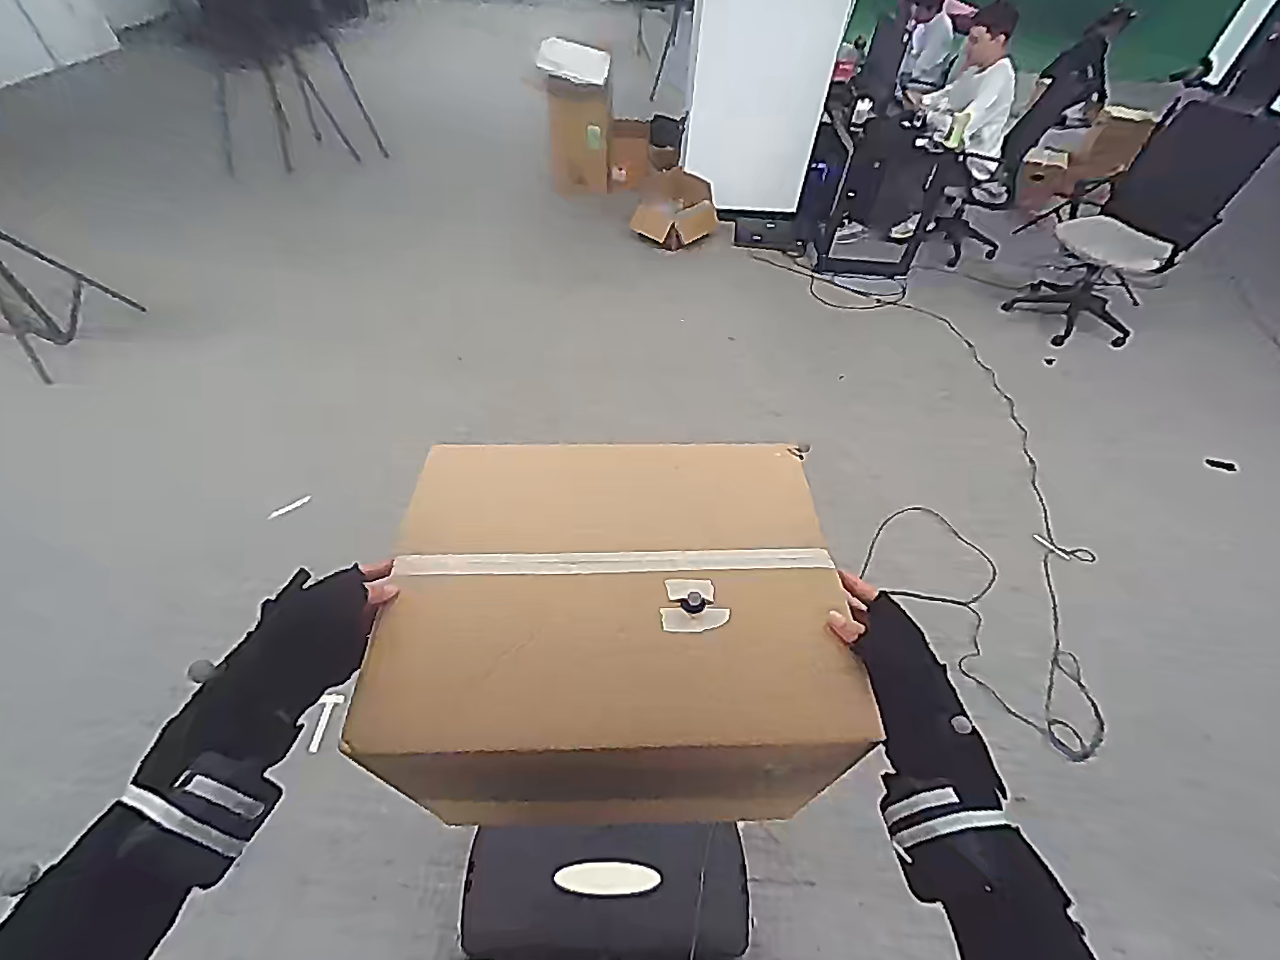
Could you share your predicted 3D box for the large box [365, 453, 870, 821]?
[{"bbox_3d":[-0.025,0.183,0.626,0.408,0.320,0.320,0,49,-2],"label":"large box"}]
